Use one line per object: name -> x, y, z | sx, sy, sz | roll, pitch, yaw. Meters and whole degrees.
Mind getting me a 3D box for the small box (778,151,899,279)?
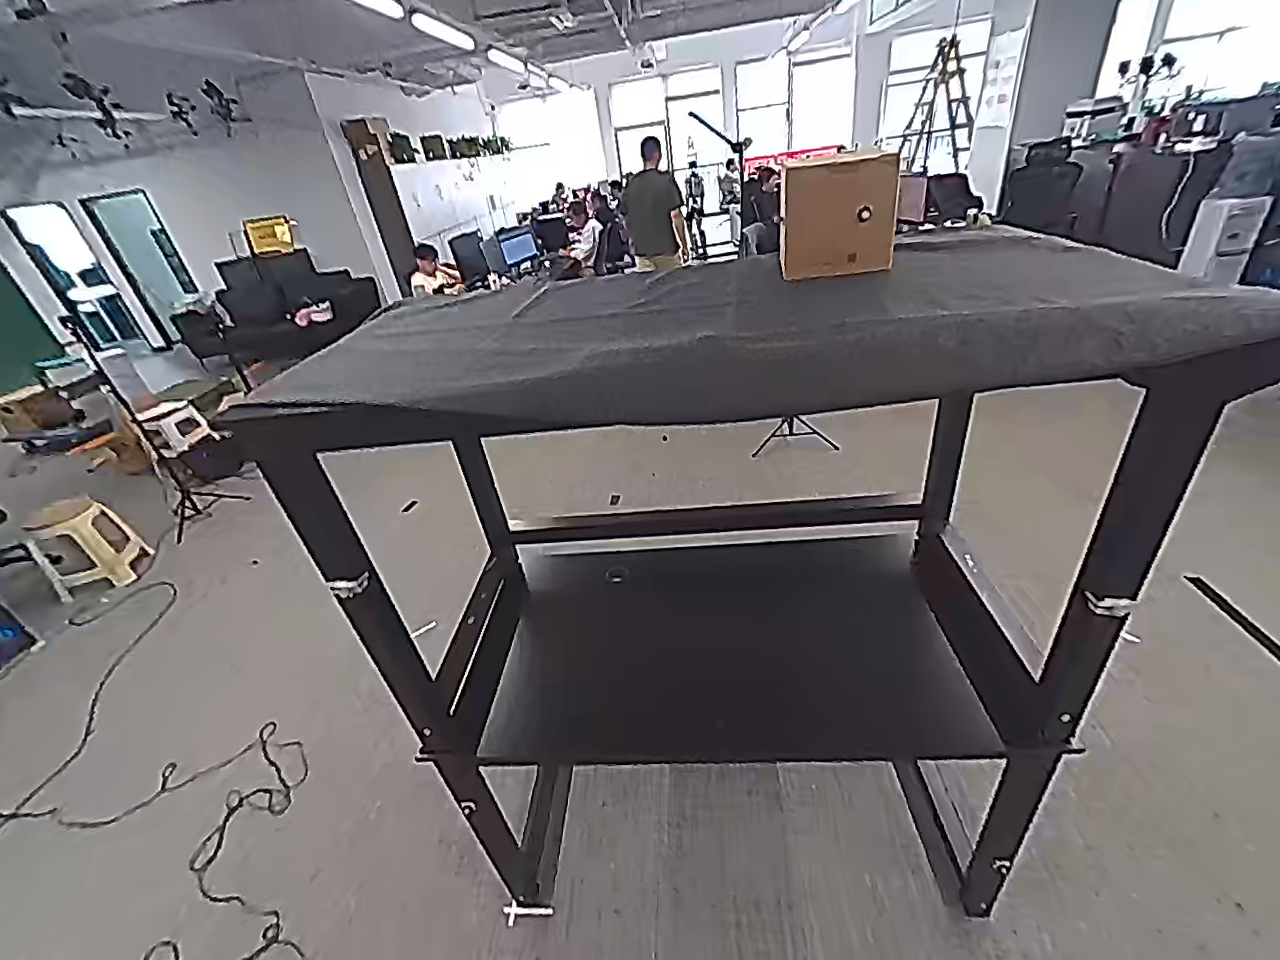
small box -> 0.320, -0.440, 0.907 | 0.168, 0.176, 0.179 | -1, 32, 11
